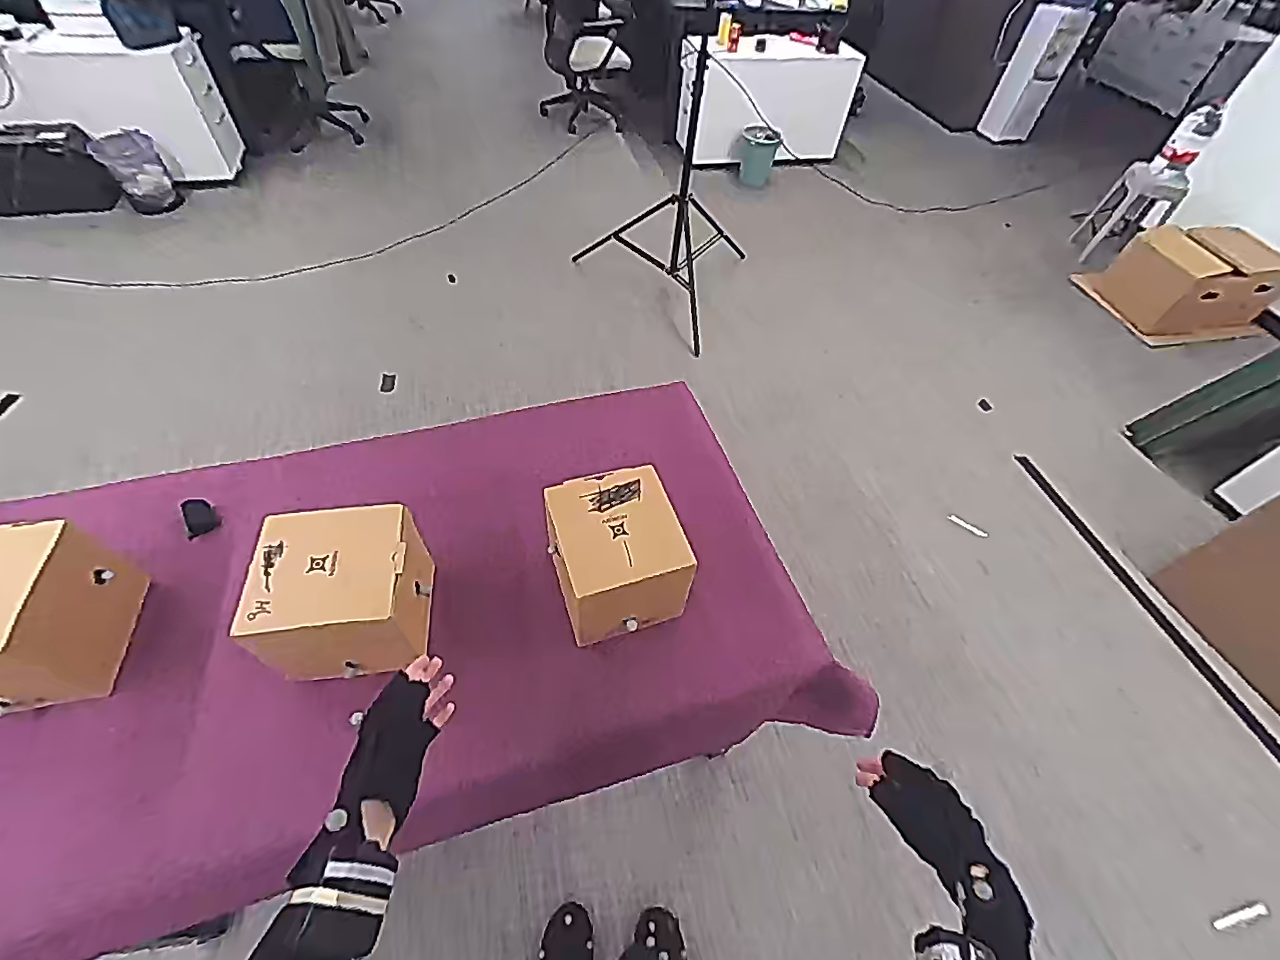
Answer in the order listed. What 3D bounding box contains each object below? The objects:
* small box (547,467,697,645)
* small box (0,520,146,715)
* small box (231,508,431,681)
[{"bbox_3d":[-0.034,0.112,0.790,0.168,0.176,0.179,-14,55,-14],"label":"small box"},{"bbox_3d":[-0.778,0.175,0.675,0.168,0.176,0.179,-8,54,-10],"label":"small box"},{"bbox_3d":[-0.390,0.155,0.726,0.179,0.176,0.168,-4,52,-9],"label":"small box"}]
